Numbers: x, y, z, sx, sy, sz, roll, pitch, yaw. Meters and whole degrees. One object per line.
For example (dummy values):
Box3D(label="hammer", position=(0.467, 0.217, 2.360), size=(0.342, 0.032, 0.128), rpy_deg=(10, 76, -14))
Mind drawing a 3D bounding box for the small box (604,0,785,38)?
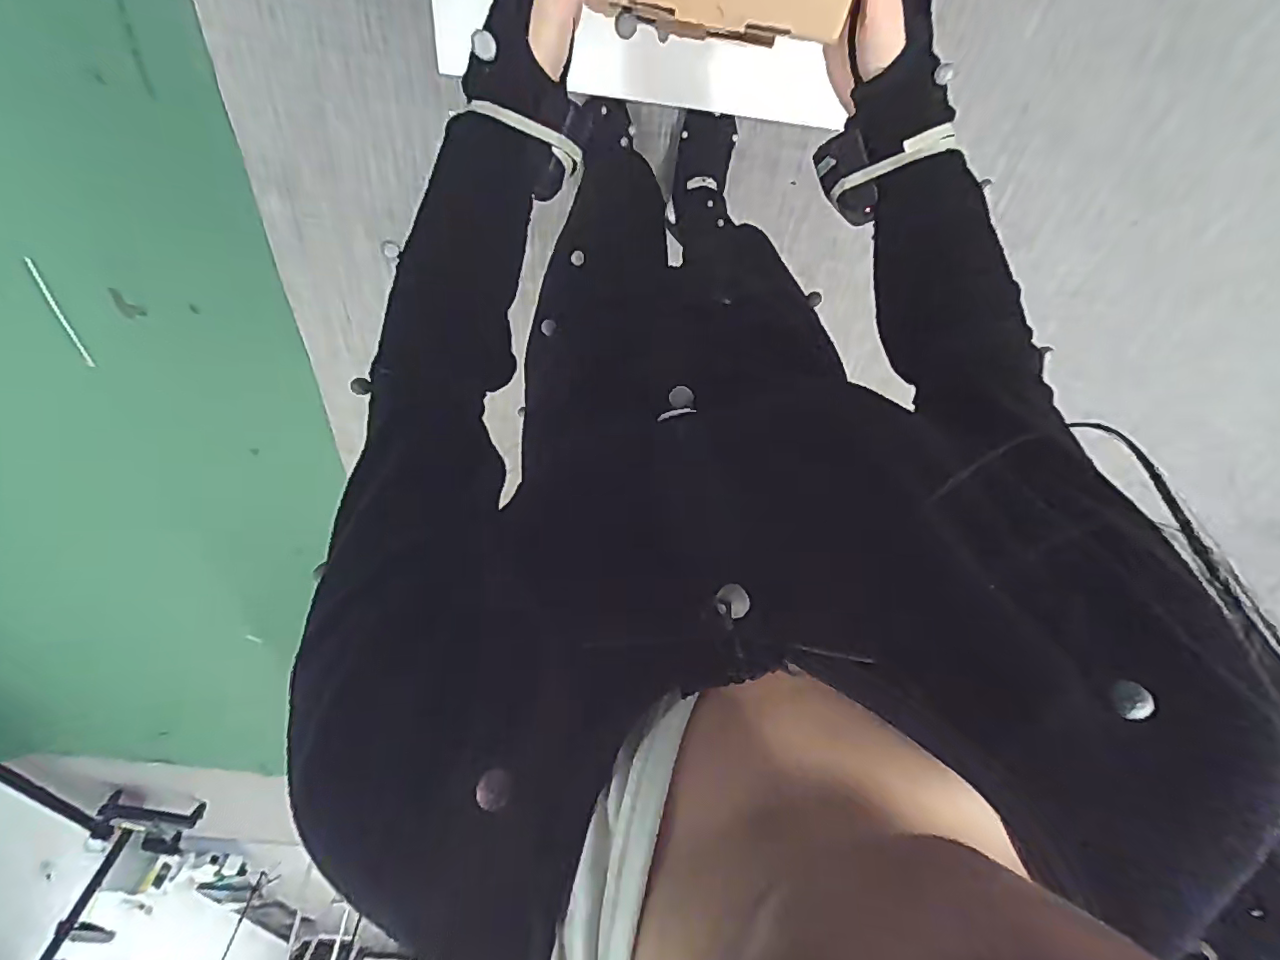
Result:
Box3D(label="small box", position=(0.050, -0.501, 0.457), size=(0.168, 0.176, 0.179), rpy_deg=(8, 129, -4))
